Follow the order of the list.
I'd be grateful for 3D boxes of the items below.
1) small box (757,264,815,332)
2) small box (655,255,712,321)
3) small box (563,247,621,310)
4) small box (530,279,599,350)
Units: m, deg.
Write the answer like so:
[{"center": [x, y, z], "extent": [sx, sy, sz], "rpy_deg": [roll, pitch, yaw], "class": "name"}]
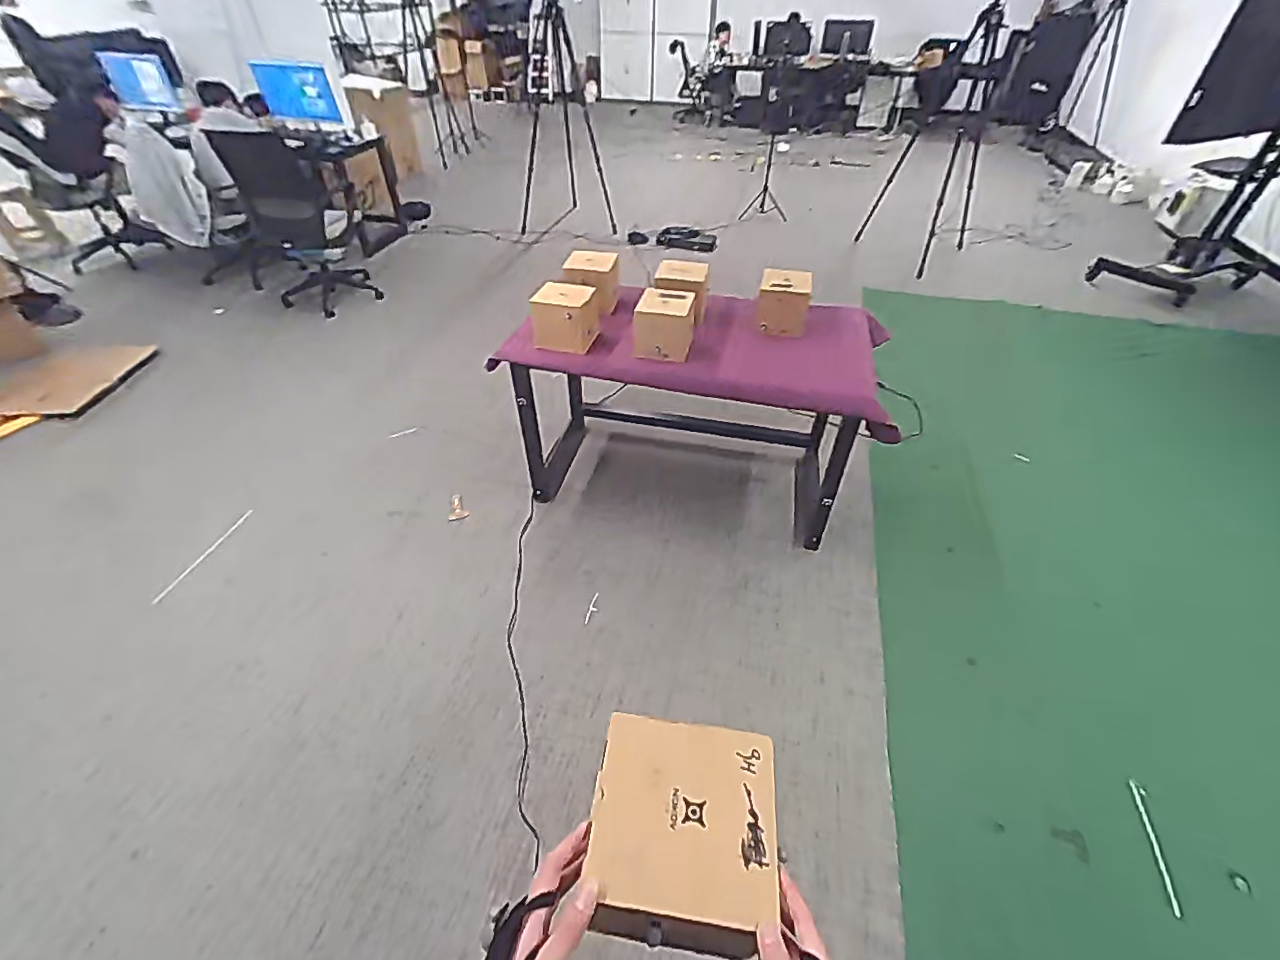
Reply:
[{"center": [0.504, -0.630, 1.875], "extent": [0.168, 0.176, 0.179], "rpy_deg": [10, 44, 11], "class": "small box"}, {"center": [0.156, -0.688, 1.941], "extent": [0.179, 0.176, 0.168], "rpy_deg": [8, 44, 10], "class": "small box"}, {"center": [-0.173, -0.743, 1.998], "extent": [0.179, 0.176, 0.168], "rpy_deg": [8, 45, 8], "class": "small box"}, {"center": [-0.243, -0.549, 1.794], "extent": [0.179, 0.176, 0.168], "rpy_deg": [10, 43, 10], "class": "small box"}]
